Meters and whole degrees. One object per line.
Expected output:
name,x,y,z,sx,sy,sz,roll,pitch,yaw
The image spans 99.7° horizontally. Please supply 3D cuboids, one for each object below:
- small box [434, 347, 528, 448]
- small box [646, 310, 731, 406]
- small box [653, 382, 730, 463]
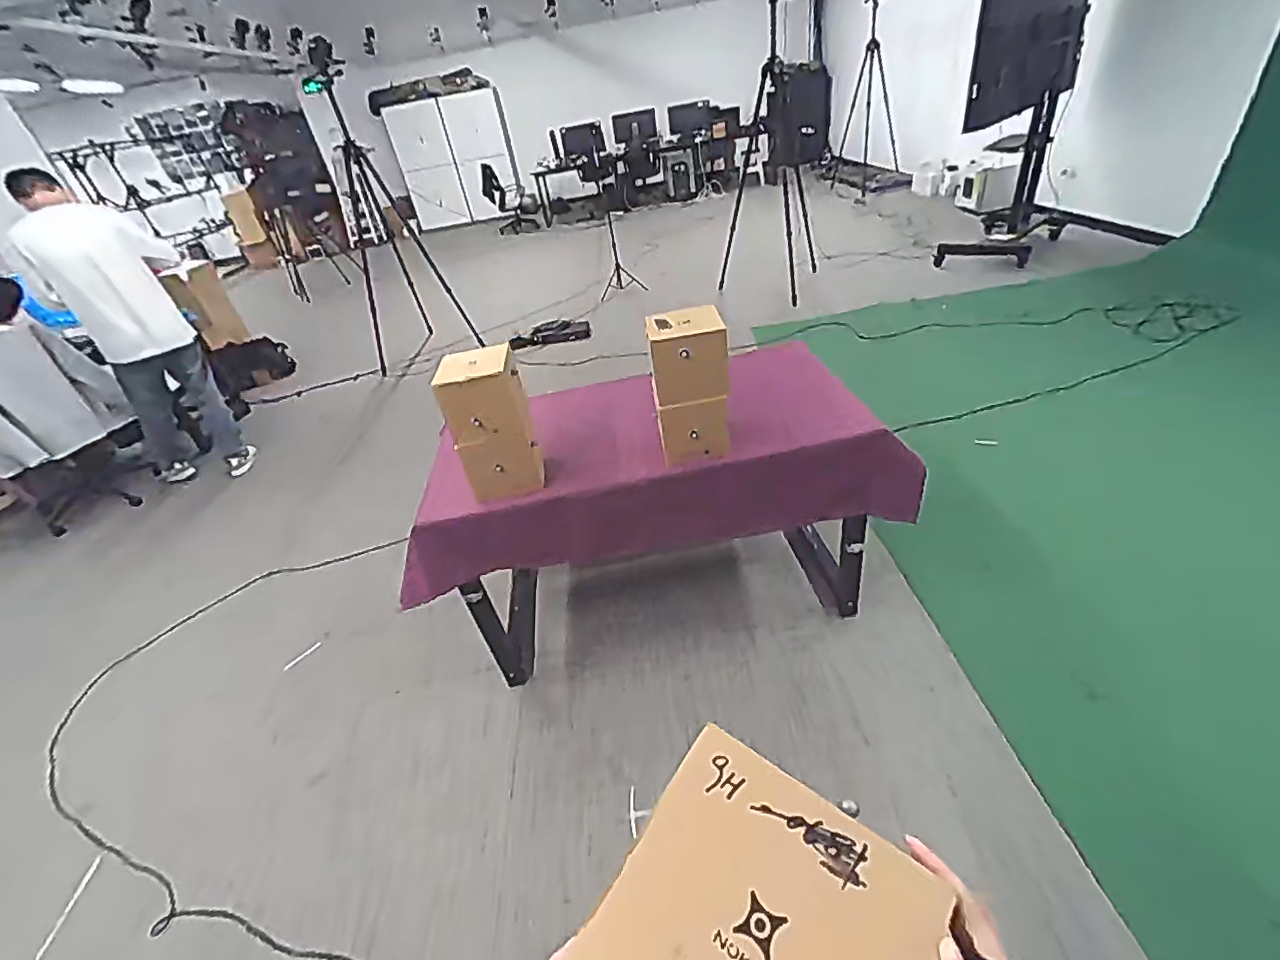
small box,-0.374,-0.200,1.308,0.168,0.176,0.179,-12,36,-1
small box,0.115,-0.291,1.304,0.179,0.176,0.168,-9,36,2
small box,0.133,-0.156,1.397,0.168,0.176,0.179,-9,35,1
